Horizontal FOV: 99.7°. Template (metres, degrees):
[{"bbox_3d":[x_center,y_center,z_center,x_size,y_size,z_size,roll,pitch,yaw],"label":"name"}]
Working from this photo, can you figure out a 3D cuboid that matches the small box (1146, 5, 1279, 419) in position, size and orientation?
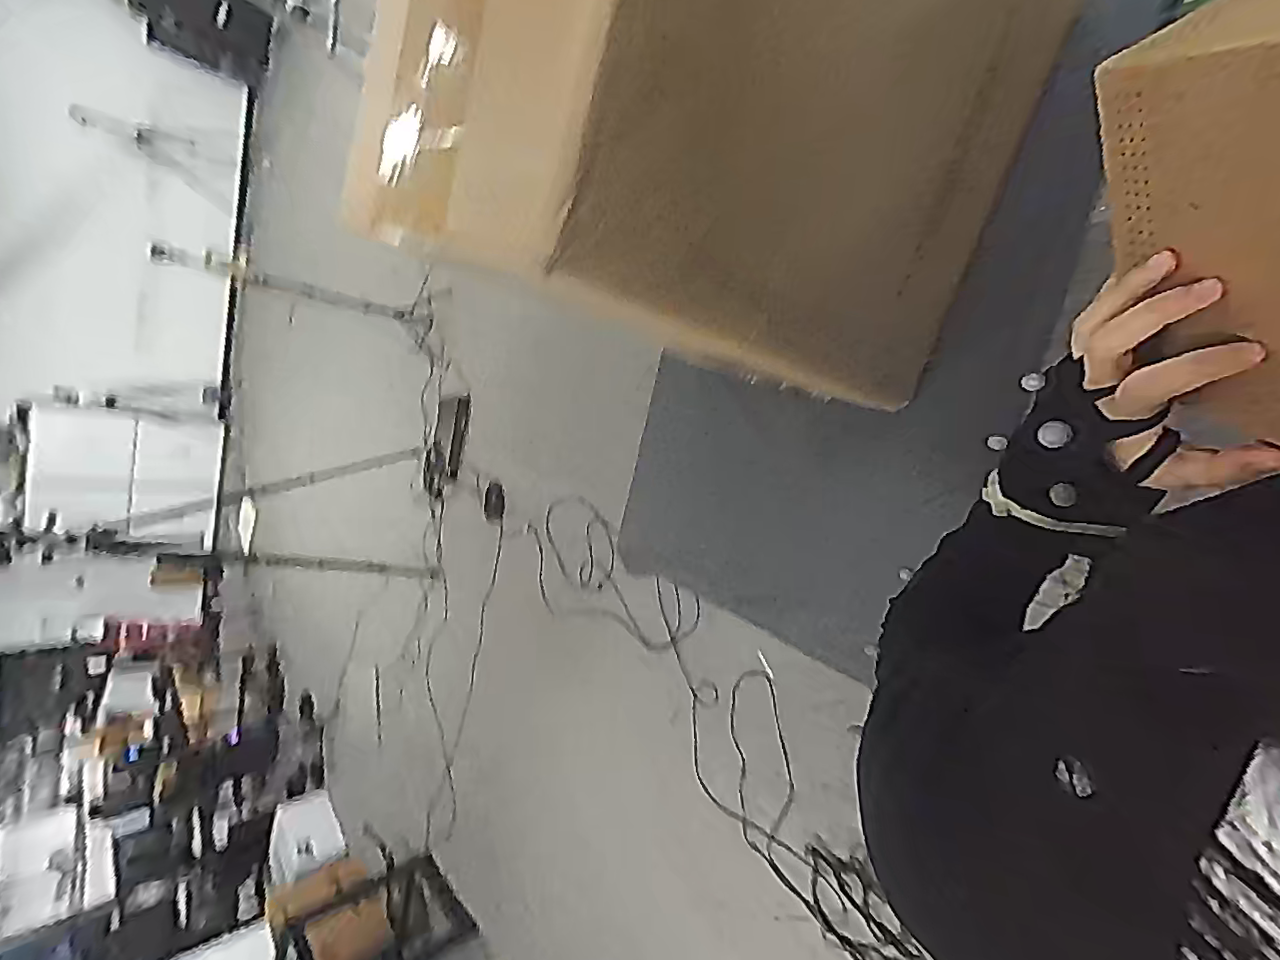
[{"bbox_3d":[0.339,-0.115,0.199,0.168,0.179,0.176,-24,27,17],"label":"small box"}]
